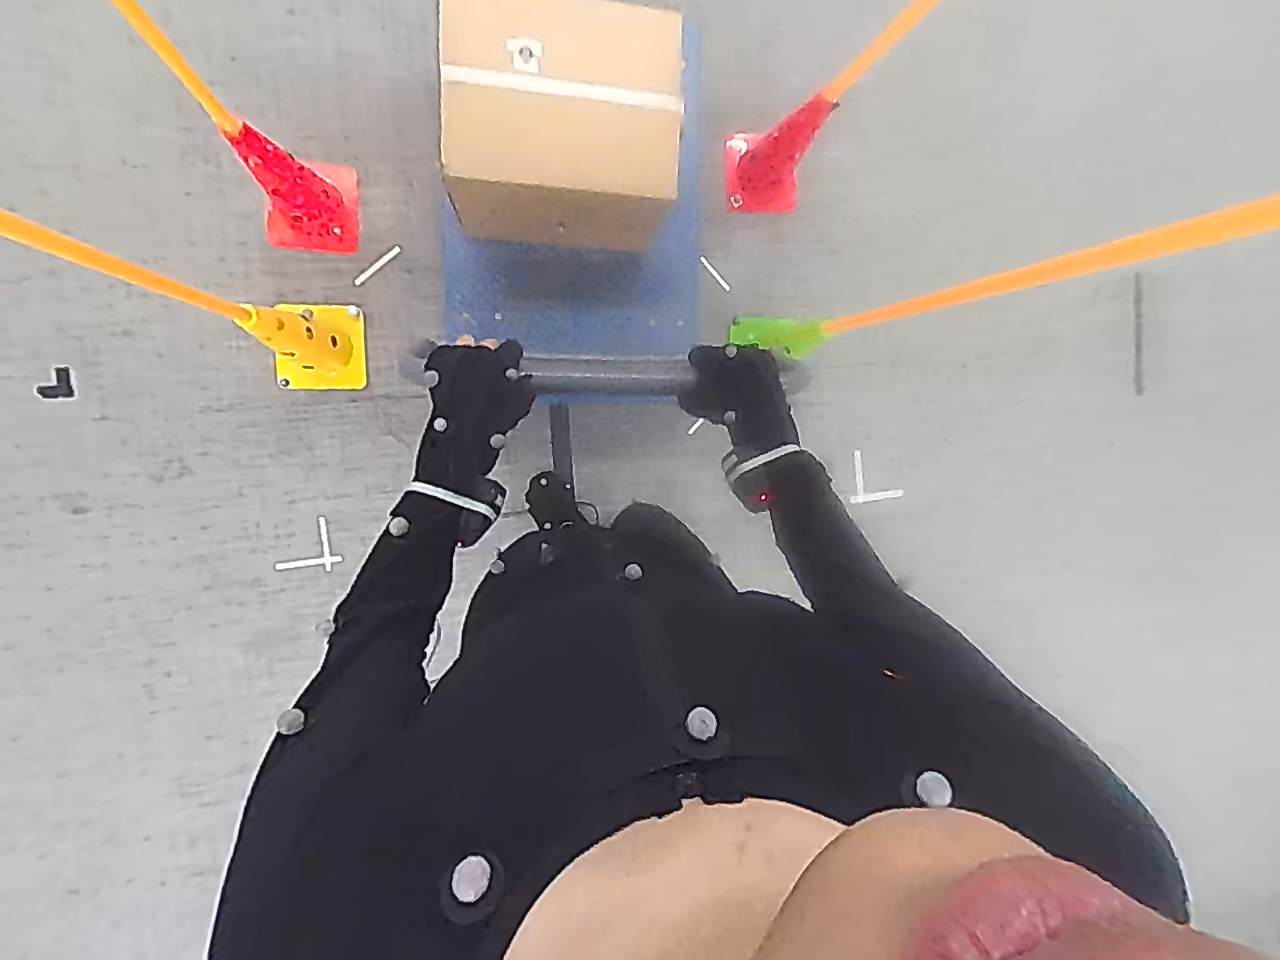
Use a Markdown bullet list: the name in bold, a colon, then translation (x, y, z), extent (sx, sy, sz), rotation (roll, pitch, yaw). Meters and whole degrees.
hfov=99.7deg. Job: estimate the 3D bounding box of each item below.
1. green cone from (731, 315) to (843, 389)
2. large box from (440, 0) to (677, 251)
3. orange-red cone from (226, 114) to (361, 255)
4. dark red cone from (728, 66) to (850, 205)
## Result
- **green cone**: translation (0.380, -0.341, 1.332), extent (0.202, 0.368, 0.200), rotation (-1, 94, -11)
- **large box**: translation (-0.154, -0.666, 1.072), extent (0.408, 0.320, 0.320), rotation (1, 95, -9)
- **orange-red cone**: translation (-0.742, -0.637, 1.121), extent (0.198, 0.360, 0.199), rotation (2, 92, -11)
- **dark red cone**: translation (0.366, -0.823, 1.276), extent (0.201, 0.394, 0.202), rotation (-5, 95, -11)
